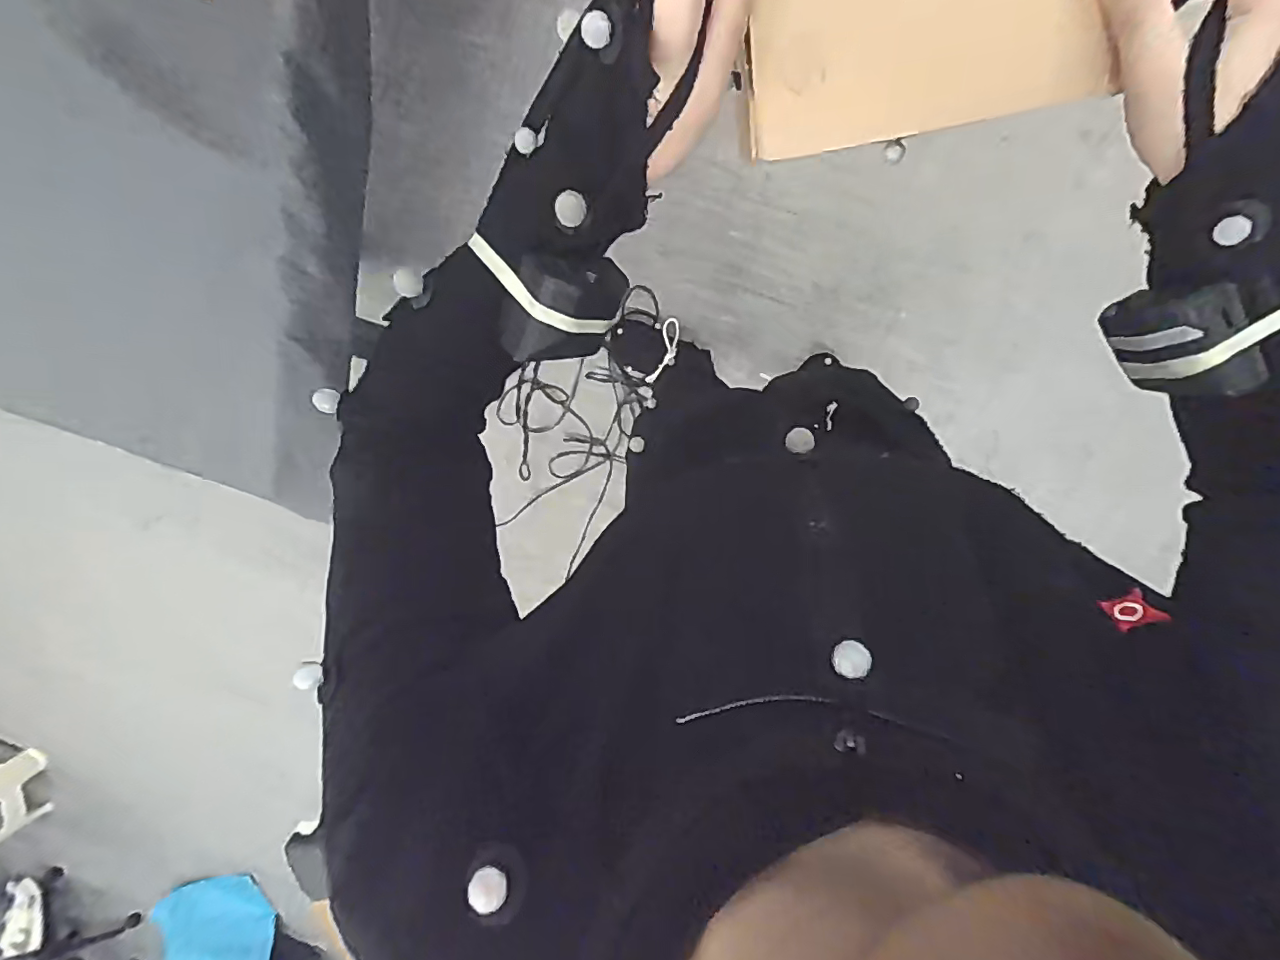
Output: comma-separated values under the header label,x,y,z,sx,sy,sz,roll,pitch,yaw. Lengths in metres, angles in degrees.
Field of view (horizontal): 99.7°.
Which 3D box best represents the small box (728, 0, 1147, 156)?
label,x,y,z,sx,sy,sz,roll,pitch,yaw
small box,0.139,-0.287,0.298,0.179,0.176,0.168,-6,121,9
